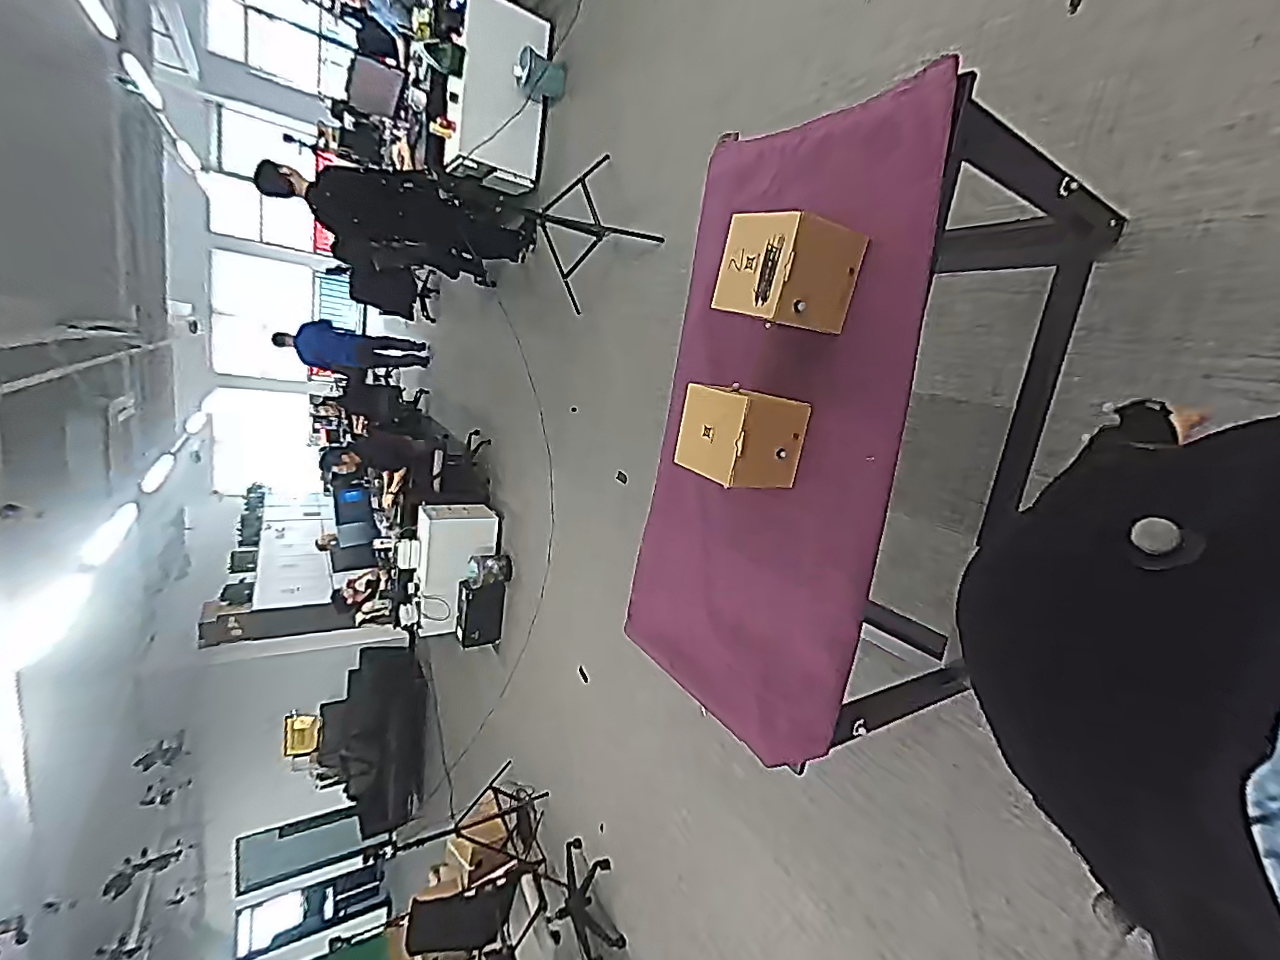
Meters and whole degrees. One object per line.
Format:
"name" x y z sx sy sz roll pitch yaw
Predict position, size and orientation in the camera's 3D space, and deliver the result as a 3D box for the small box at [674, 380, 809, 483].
"small box" 0.196 -0.093 1.060 0.179 0.176 0.168 29 114 53
